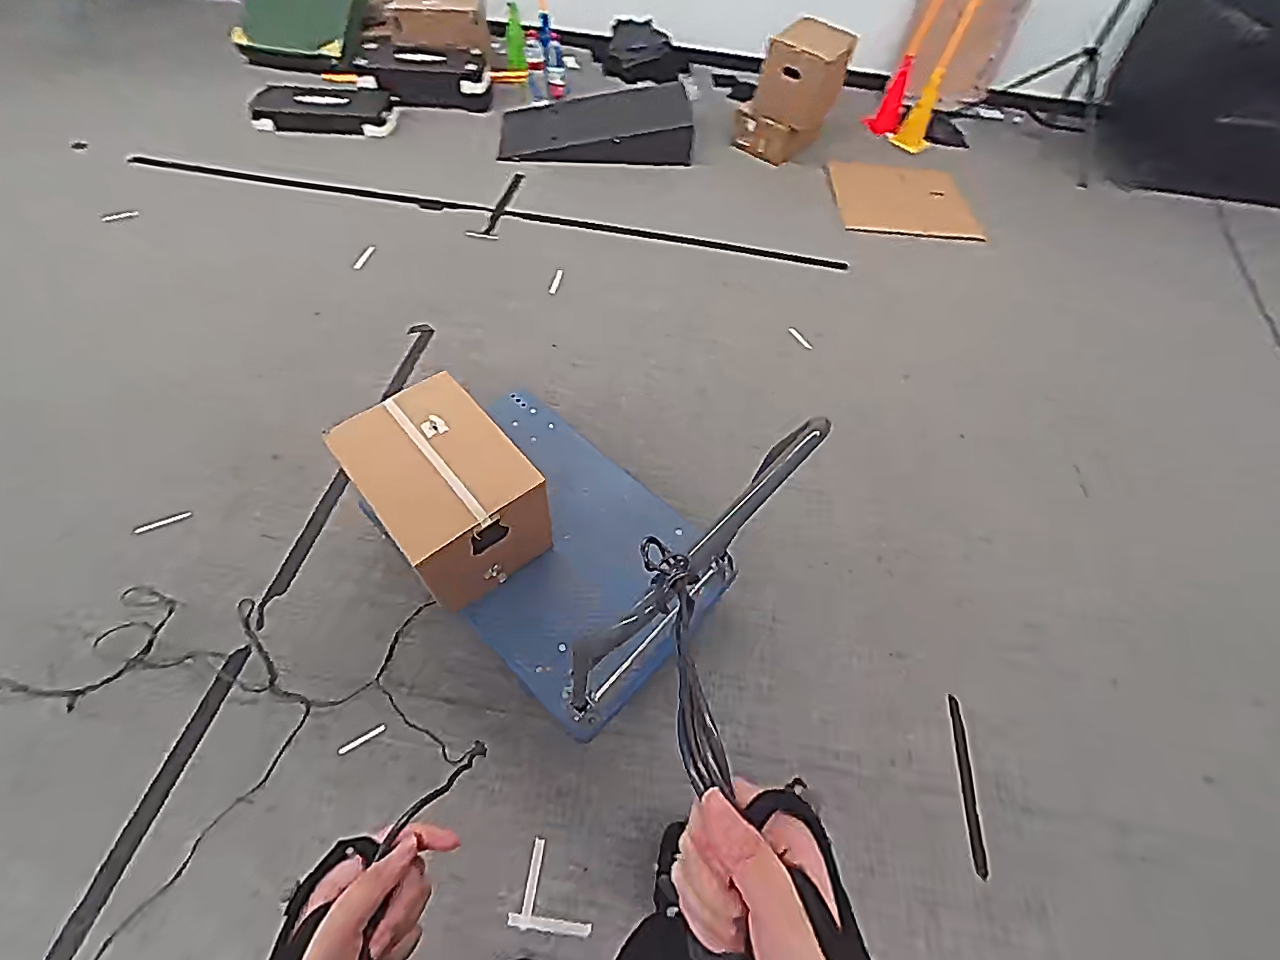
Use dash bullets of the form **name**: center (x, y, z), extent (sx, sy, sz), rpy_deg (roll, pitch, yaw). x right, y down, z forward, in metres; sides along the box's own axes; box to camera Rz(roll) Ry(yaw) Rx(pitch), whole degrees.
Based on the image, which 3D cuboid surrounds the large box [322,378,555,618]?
- **large box**: center (-0.450, 0.043, 1.276), extent (0.320, 0.320, 0.408), rpy_deg (-35, 66, -25)
